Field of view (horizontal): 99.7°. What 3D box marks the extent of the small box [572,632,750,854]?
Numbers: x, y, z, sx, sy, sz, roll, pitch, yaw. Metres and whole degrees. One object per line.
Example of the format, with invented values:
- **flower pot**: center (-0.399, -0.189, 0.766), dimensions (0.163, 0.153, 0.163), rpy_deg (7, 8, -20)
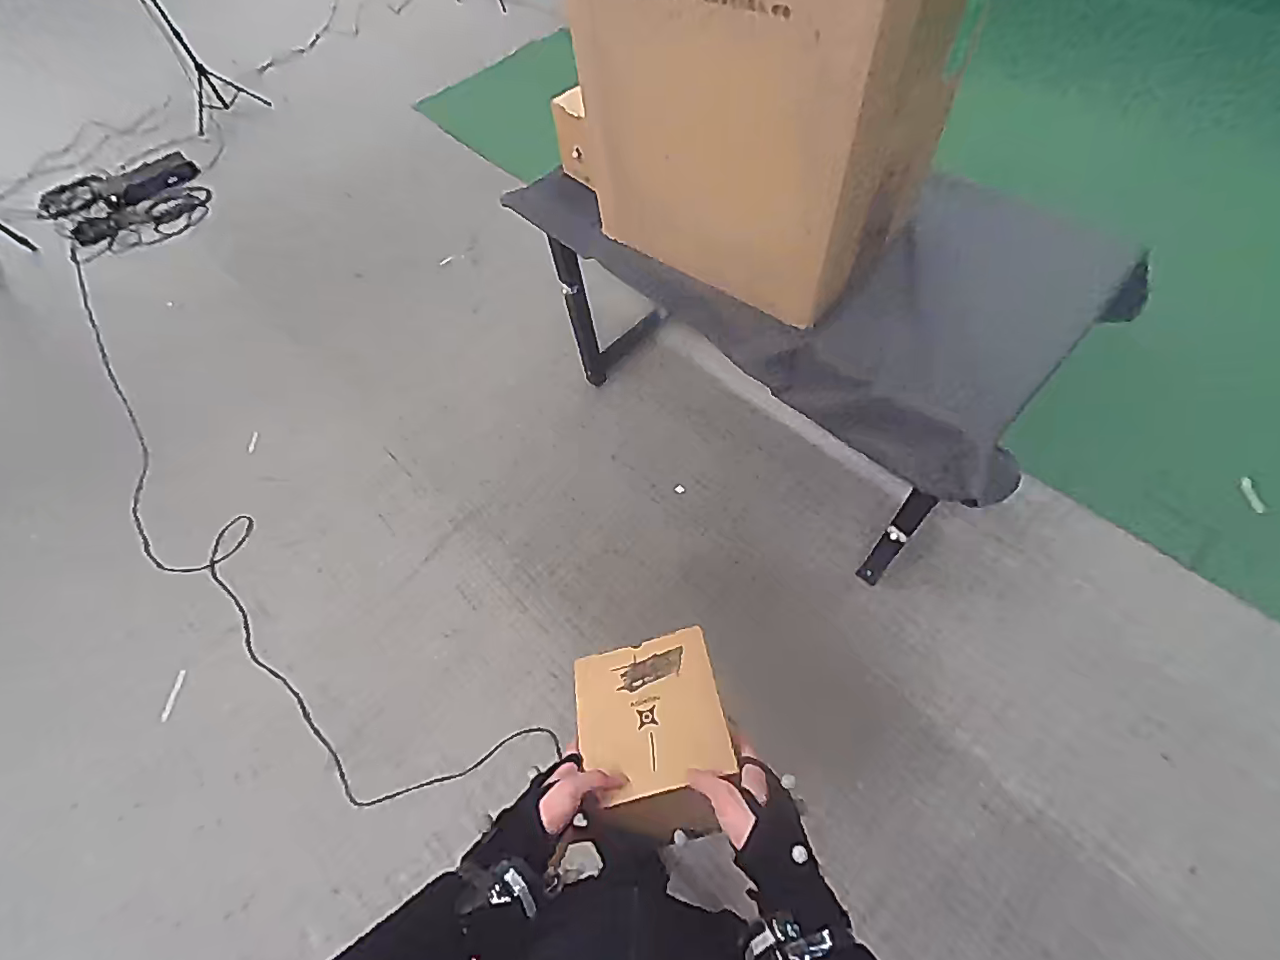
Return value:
- **small box**: center (0.024, 0.322, 0.663), dimensions (0.168, 0.176, 0.179), rpy_deg (-18, 41, 5)
